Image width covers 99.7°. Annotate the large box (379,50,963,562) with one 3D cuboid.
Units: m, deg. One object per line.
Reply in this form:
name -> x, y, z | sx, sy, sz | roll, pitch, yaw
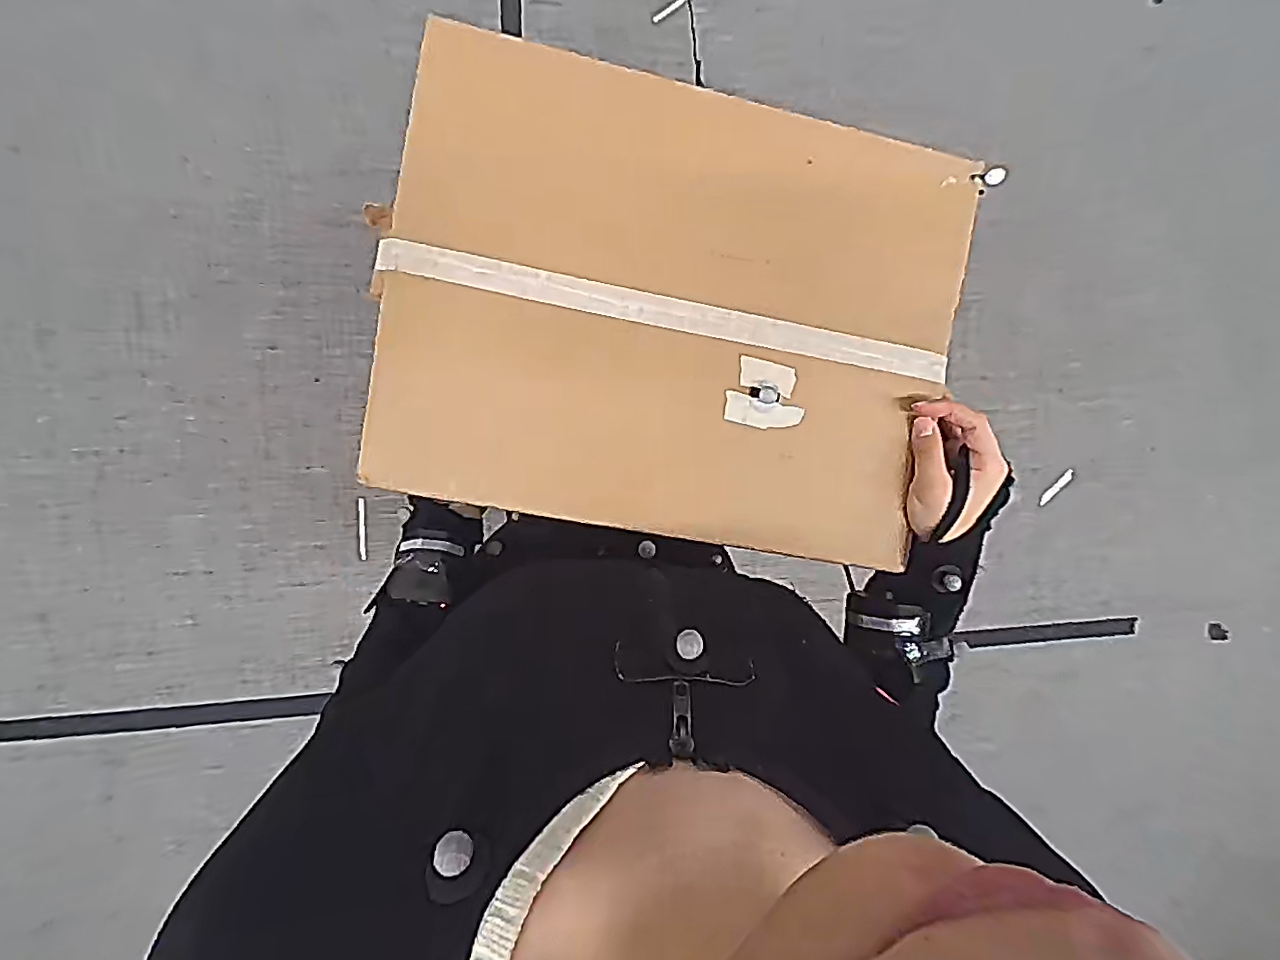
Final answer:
large box -> 0.013, -0.121, 0.541 | 0.408, 0.320, 0.320 | 9, 93, -8
